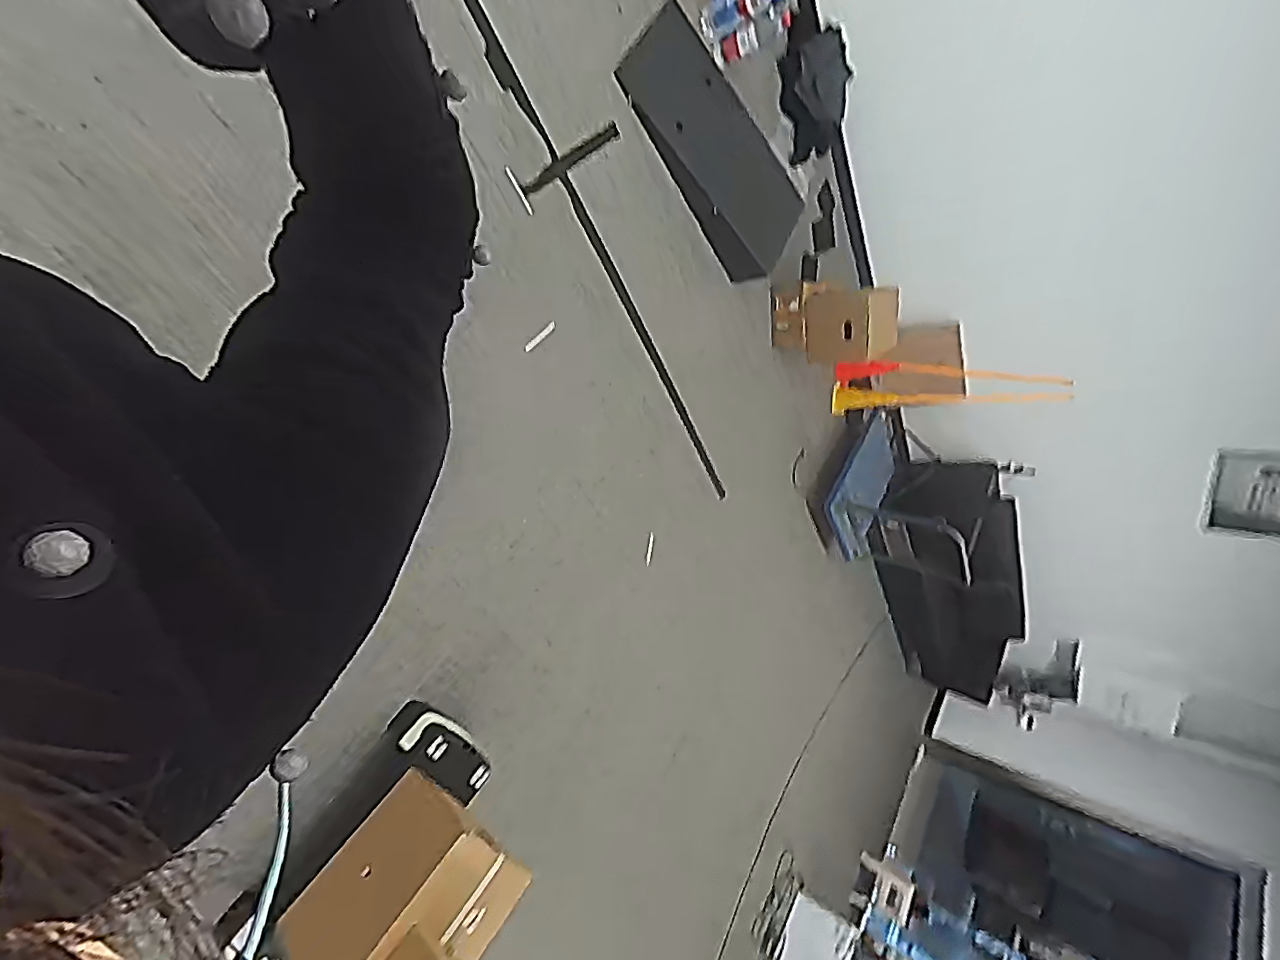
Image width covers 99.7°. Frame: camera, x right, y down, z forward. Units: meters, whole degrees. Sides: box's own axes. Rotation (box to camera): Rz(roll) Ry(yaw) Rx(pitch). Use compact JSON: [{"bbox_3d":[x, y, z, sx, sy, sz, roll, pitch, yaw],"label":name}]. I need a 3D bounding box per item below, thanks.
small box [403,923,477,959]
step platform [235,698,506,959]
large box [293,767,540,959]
[{"bbox_3d":[-0.417,1.079,1.109,0.179,0.176,0.168,-46,125,-32],"label":"small box"},{"bbox_3d":[-0.701,0.975,1.500,0.684,0.204,0.286,-48,127,-31],"label":"step platform"},{"bbox_3d":[-0.536,1.022,1.332,0.408,0.320,0.320,-50,129,-30],"label":"large box"}]
